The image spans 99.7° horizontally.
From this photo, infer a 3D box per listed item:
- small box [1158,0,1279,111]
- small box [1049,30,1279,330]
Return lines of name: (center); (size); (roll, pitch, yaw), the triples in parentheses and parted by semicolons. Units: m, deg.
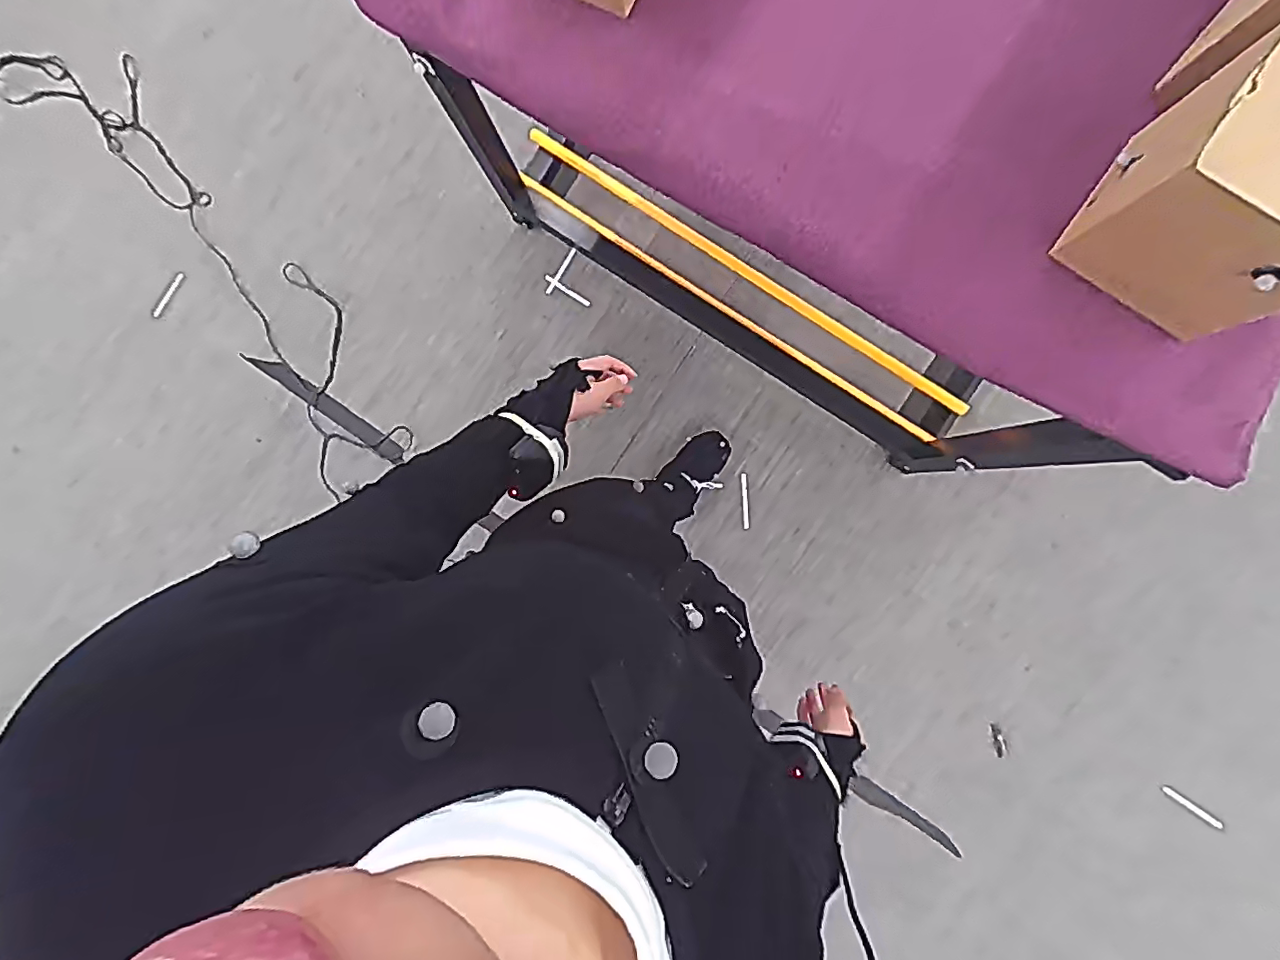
small box: (0.678, -0.435, 0.517); (0.179, 0.176, 0.168); (40, 94, 2)
small box: (0.567, -0.268, 0.524); (0.179, 0.176, 0.168); (36, 90, 4)
